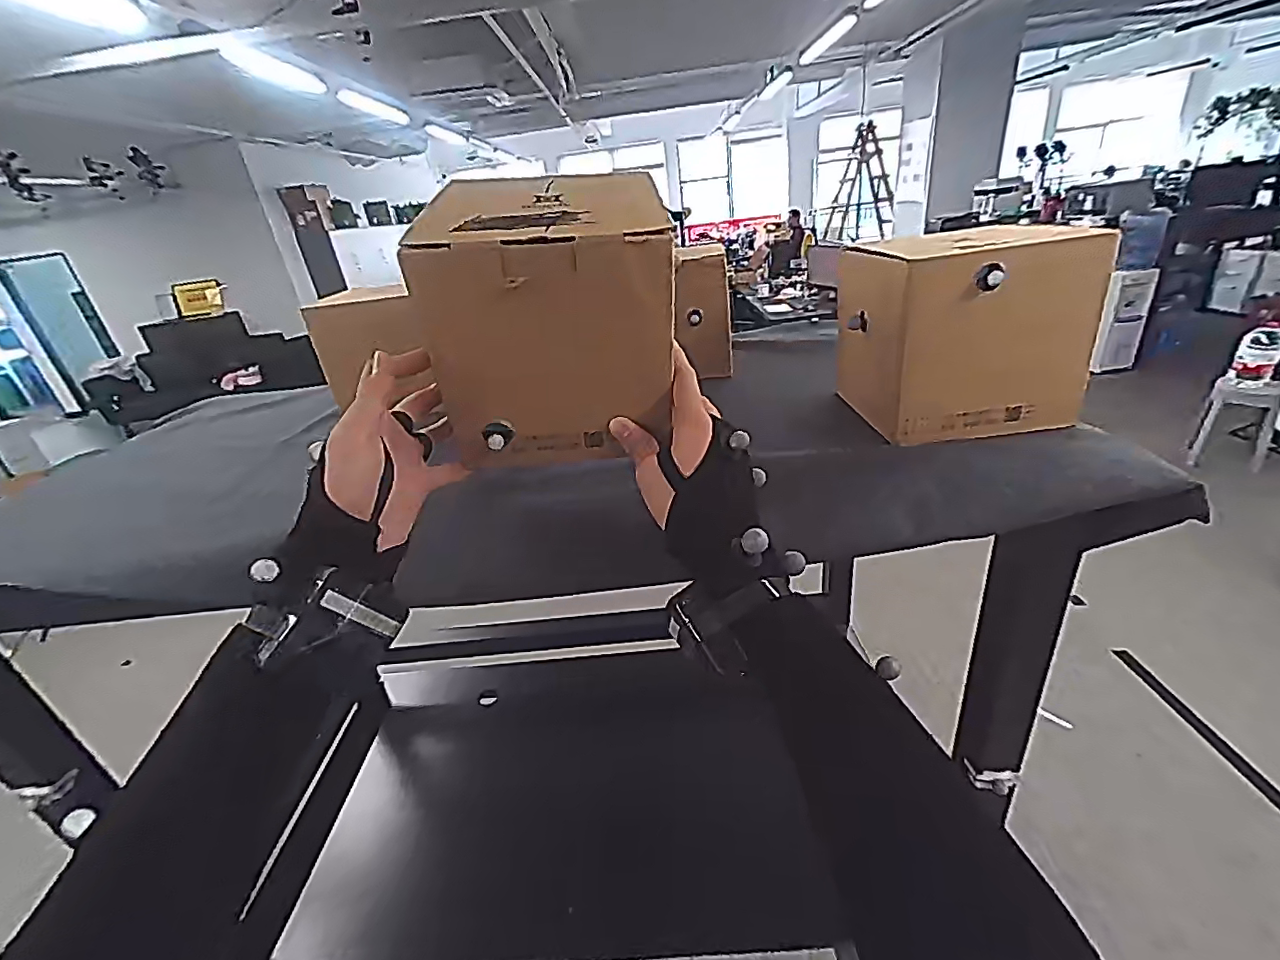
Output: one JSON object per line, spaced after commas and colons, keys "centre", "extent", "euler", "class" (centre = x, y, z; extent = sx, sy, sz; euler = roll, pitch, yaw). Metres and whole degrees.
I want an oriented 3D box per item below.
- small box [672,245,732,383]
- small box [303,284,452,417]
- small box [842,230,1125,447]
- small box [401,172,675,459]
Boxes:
{"centre": [0.050, -0.247, 0.813], "extent": [0.168, 0.176, 0.179], "euler": [-3, 27, 7], "class": "small box"}
{"centre": [-0.360, -0.200, 0.824], "extent": [0.168, 0.176, 0.179], "euler": [-6, 27, 2], "class": "small box"}
{"centre": [0.309, -0.144, 0.535], "extent": [0.168, 0.176, 0.179], "euler": [-7, 26, 3], "class": "small box"}
{"centre": [-0.061, -0.128, 0.430], "extent": [0.168, 0.176, 0.179], "euler": [-4, 40, -2], "class": "small box"}
